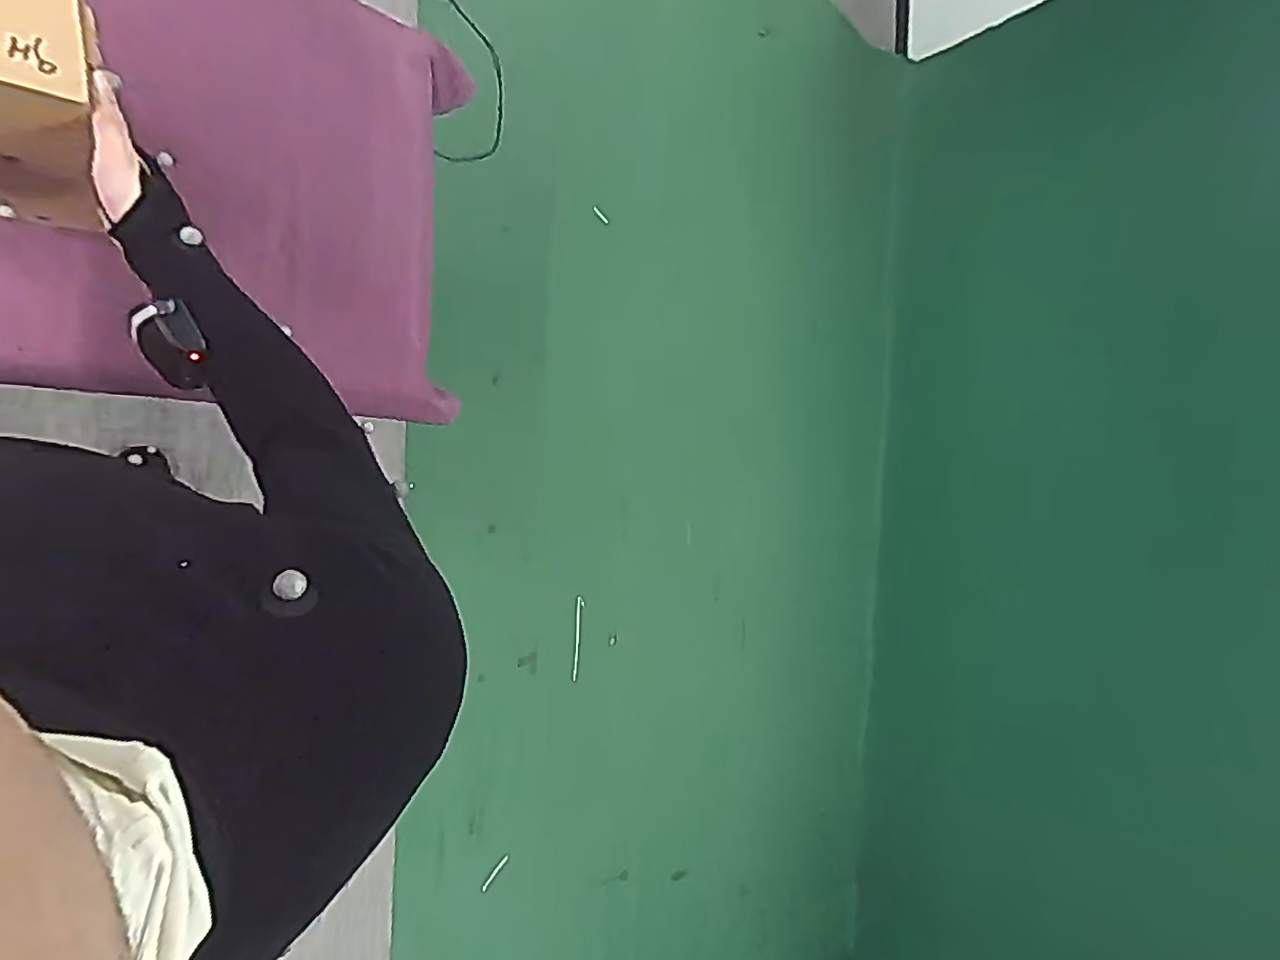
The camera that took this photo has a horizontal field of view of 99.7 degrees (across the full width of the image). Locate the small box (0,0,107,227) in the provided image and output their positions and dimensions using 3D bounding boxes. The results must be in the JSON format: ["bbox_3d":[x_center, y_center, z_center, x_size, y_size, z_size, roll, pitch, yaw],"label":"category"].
[{"bbox_3d":[-0.656,-0.383,0.539,0.168,0.176,0.179,-4,96,-41],"label":"small box"}]

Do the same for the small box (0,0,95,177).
[{"bbox_3d":[-0.545,-0.373,0.413,0.168,0.176,0.179,-6,95,-42],"label":"small box"}]
